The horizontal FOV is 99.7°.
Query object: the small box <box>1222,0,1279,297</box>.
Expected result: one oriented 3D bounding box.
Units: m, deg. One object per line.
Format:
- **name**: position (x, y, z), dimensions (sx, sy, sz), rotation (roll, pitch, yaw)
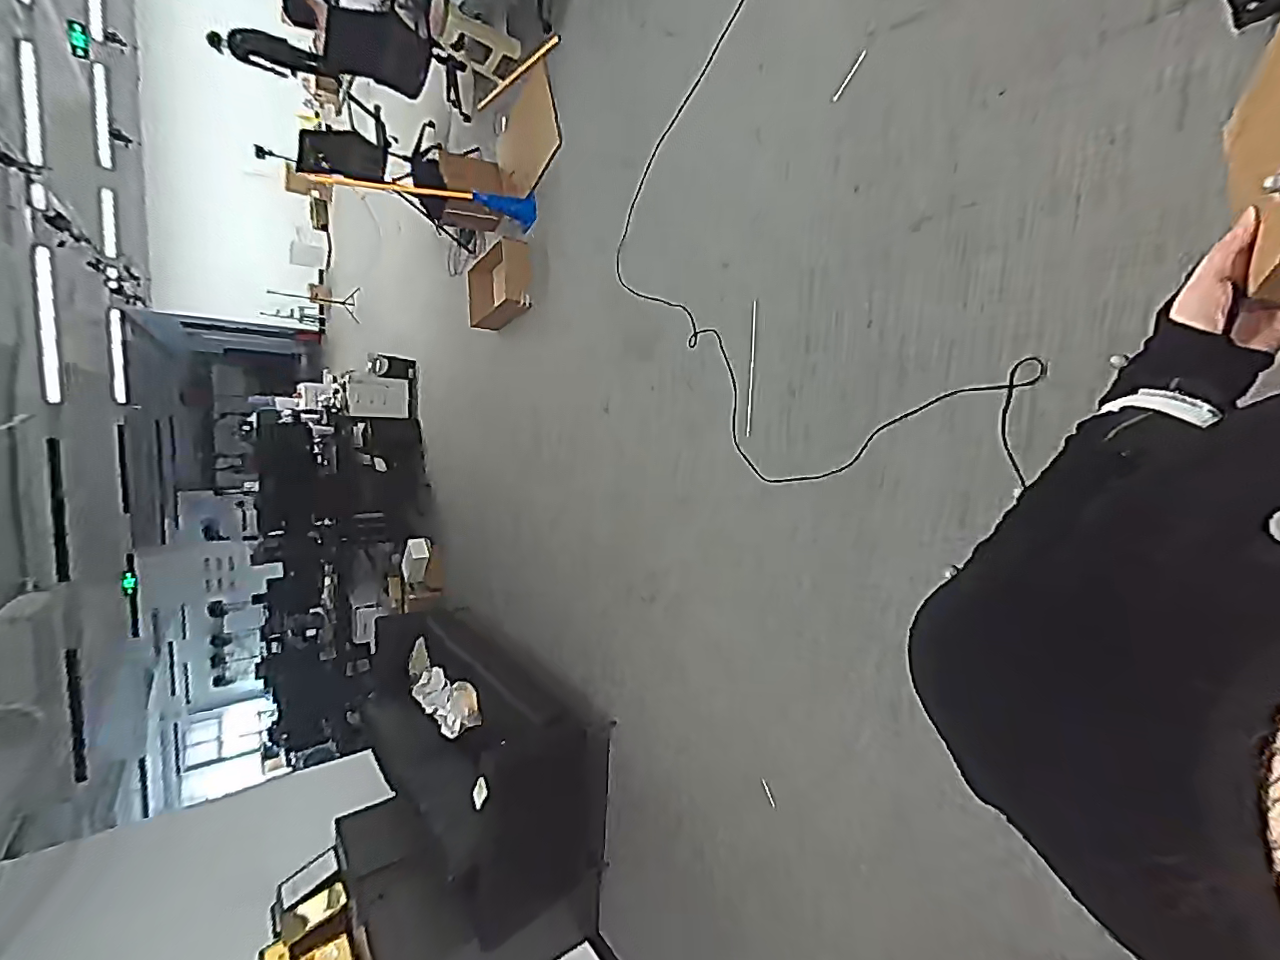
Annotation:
- **small box**: position (0.490, -0.238, 0.319), dimensions (0.168, 0.179, 0.176), rotation (2, 78, 30)
